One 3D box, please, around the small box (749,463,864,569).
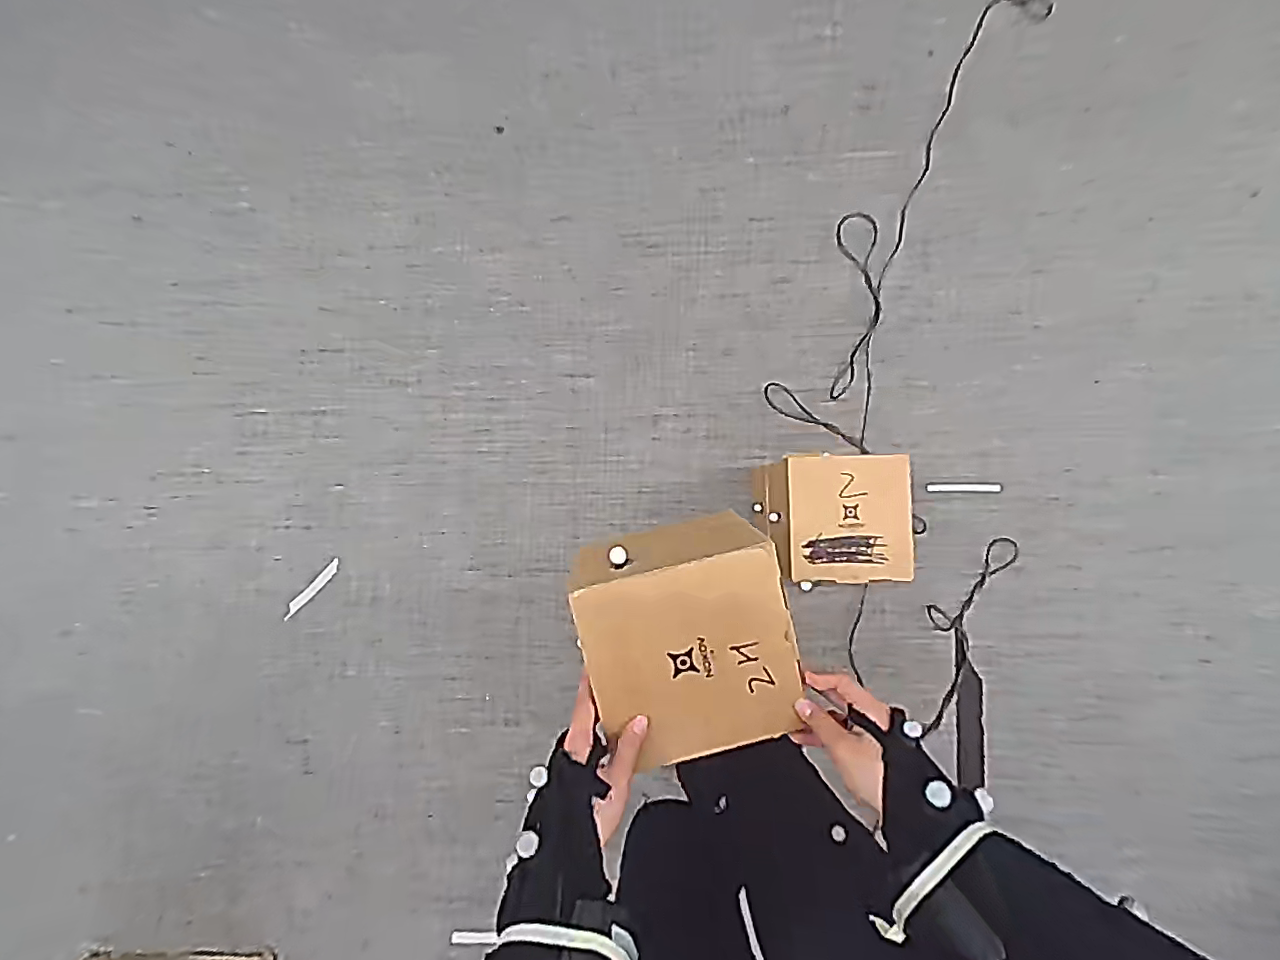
[{"bbox_3d":[0.293,0.063,0.982,0.168,0.176,0.179,-2,89,4],"label":"small box"}]
